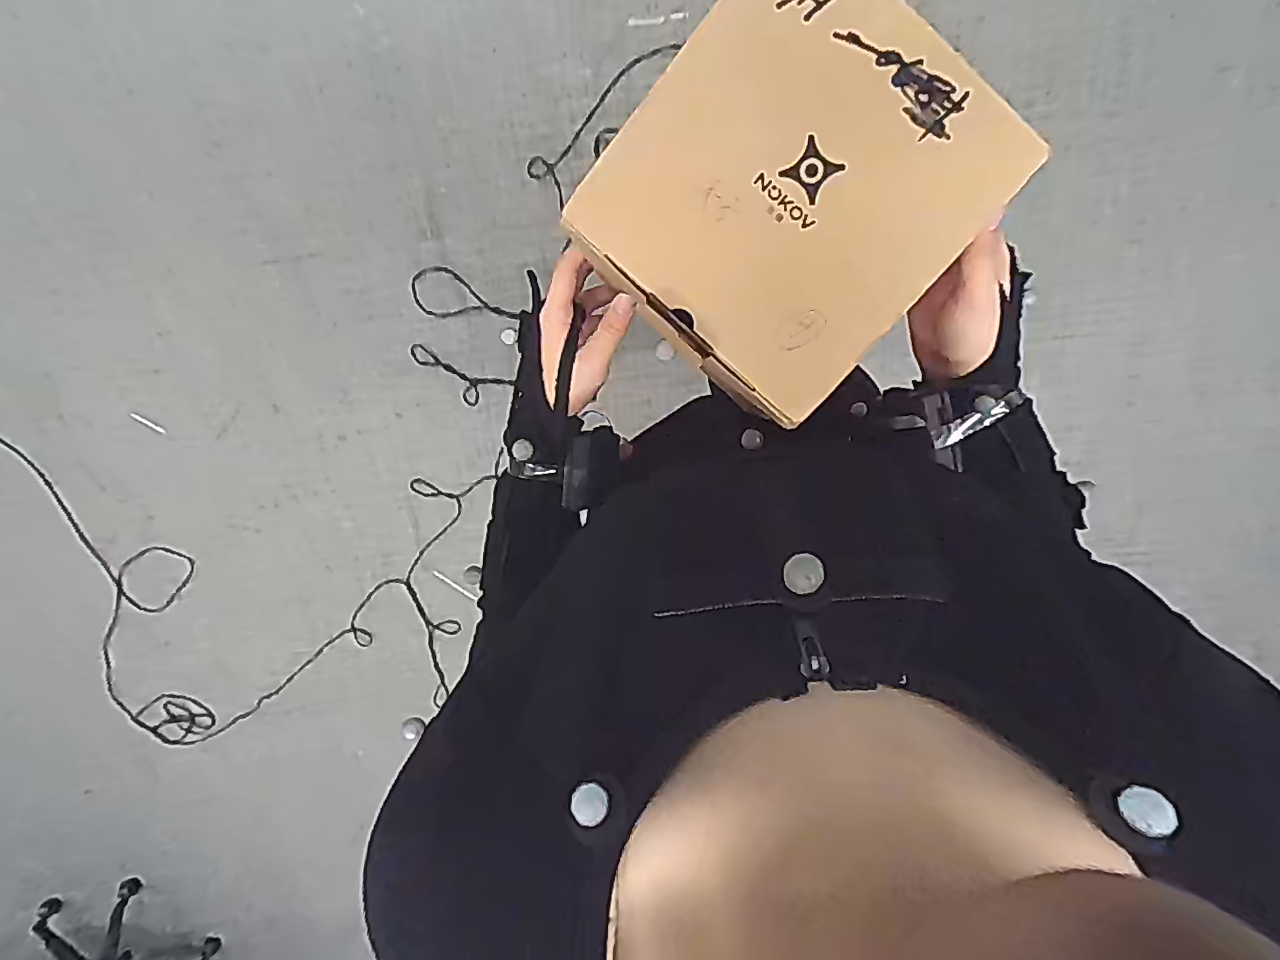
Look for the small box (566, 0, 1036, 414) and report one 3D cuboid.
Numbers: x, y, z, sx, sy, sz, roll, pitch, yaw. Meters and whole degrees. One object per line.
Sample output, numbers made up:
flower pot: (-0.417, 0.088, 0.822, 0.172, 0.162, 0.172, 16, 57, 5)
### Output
small box: (0.082, -0.164, 0.348, 0.168, 0.176, 0.179, 41, 101, -4)
